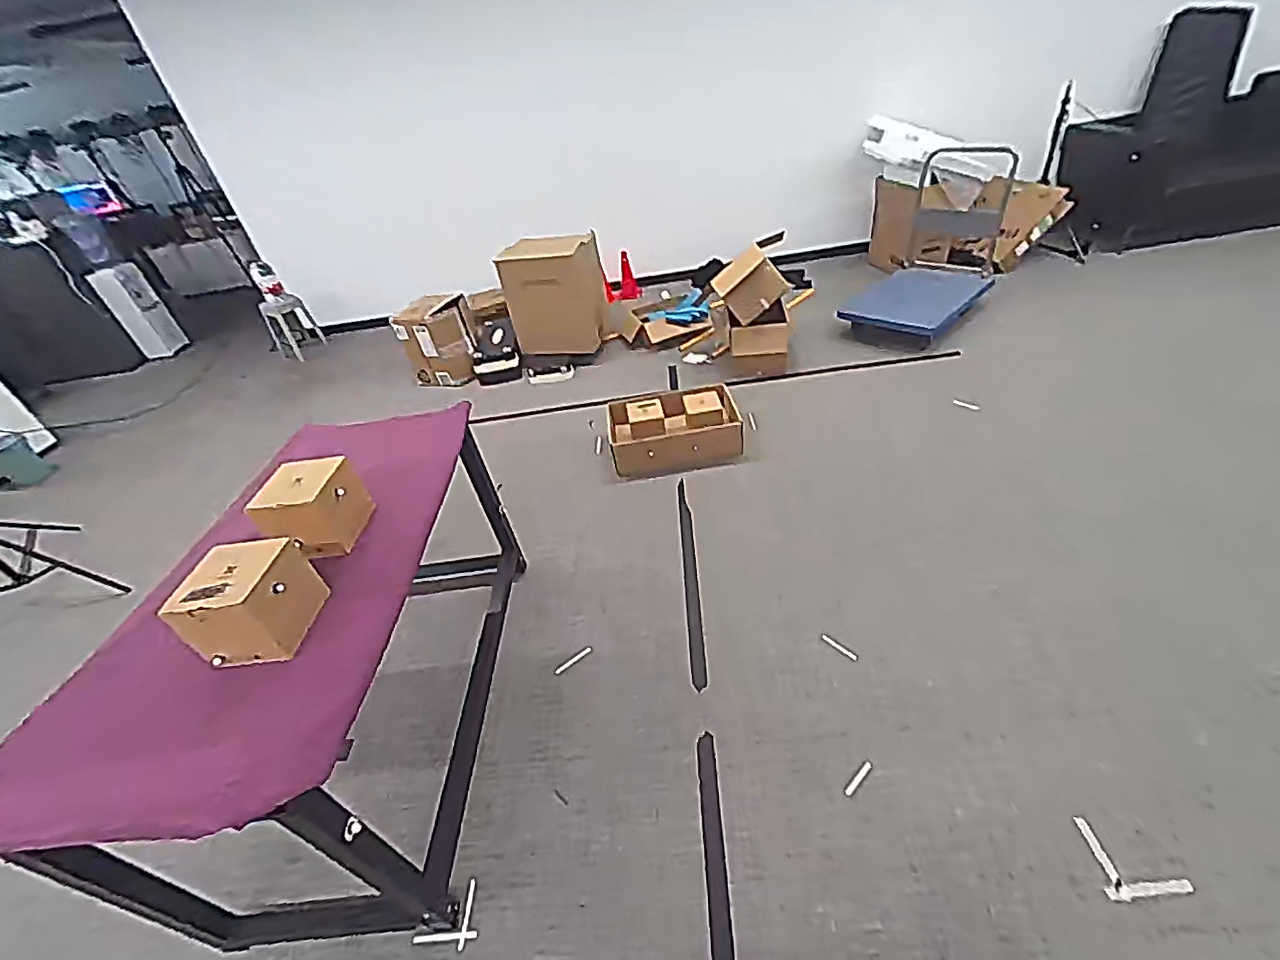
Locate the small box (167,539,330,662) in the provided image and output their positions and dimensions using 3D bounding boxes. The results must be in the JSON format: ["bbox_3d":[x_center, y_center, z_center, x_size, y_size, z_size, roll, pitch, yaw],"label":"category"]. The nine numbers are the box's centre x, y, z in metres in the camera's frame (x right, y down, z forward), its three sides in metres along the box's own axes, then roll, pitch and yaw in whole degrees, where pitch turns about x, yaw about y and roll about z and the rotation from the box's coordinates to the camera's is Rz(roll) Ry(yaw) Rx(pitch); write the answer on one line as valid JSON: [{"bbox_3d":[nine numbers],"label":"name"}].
[{"bbox_3d":[-0.759,0.244,1.076,0.168,0.176,0.179,-7,37,5],"label":"small box"}]

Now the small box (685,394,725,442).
[{"bbox_3d":[0.317,-0.295,2.628,0.168,0.176,0.179,-9,36,2],"label":"small box"}]

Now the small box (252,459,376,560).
[{"bbox_3d":[-0.770,0.073,1.304,0.168,0.176,0.179,-7,38,5],"label":"small box"}]
